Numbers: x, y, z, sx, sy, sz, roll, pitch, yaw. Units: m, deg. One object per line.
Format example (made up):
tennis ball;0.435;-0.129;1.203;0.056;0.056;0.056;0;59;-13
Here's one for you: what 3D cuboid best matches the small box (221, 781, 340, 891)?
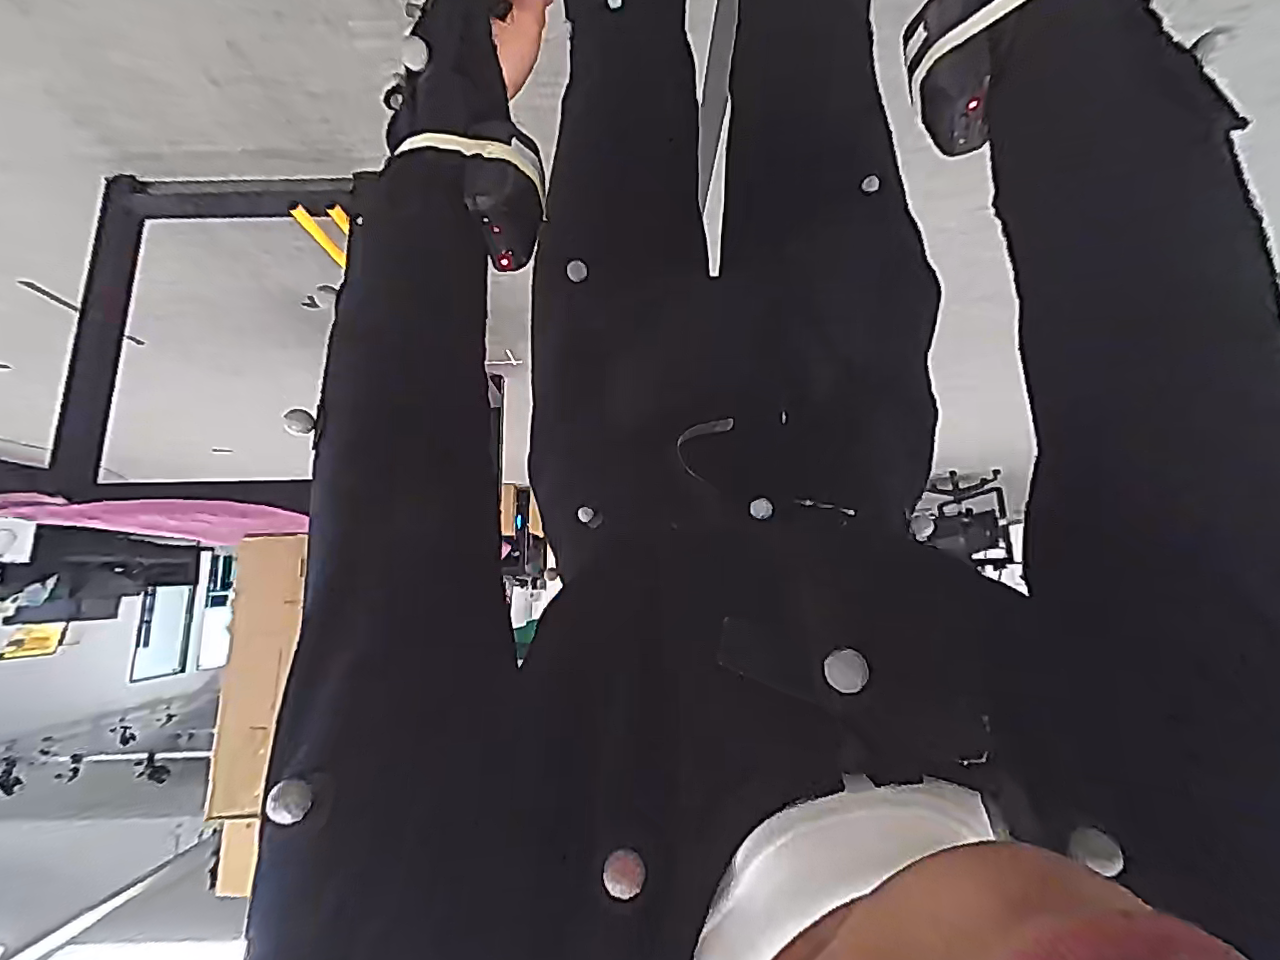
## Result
small box;-0.845;0.838;1.285;0.168;0.176;0.179;-2;170;3
